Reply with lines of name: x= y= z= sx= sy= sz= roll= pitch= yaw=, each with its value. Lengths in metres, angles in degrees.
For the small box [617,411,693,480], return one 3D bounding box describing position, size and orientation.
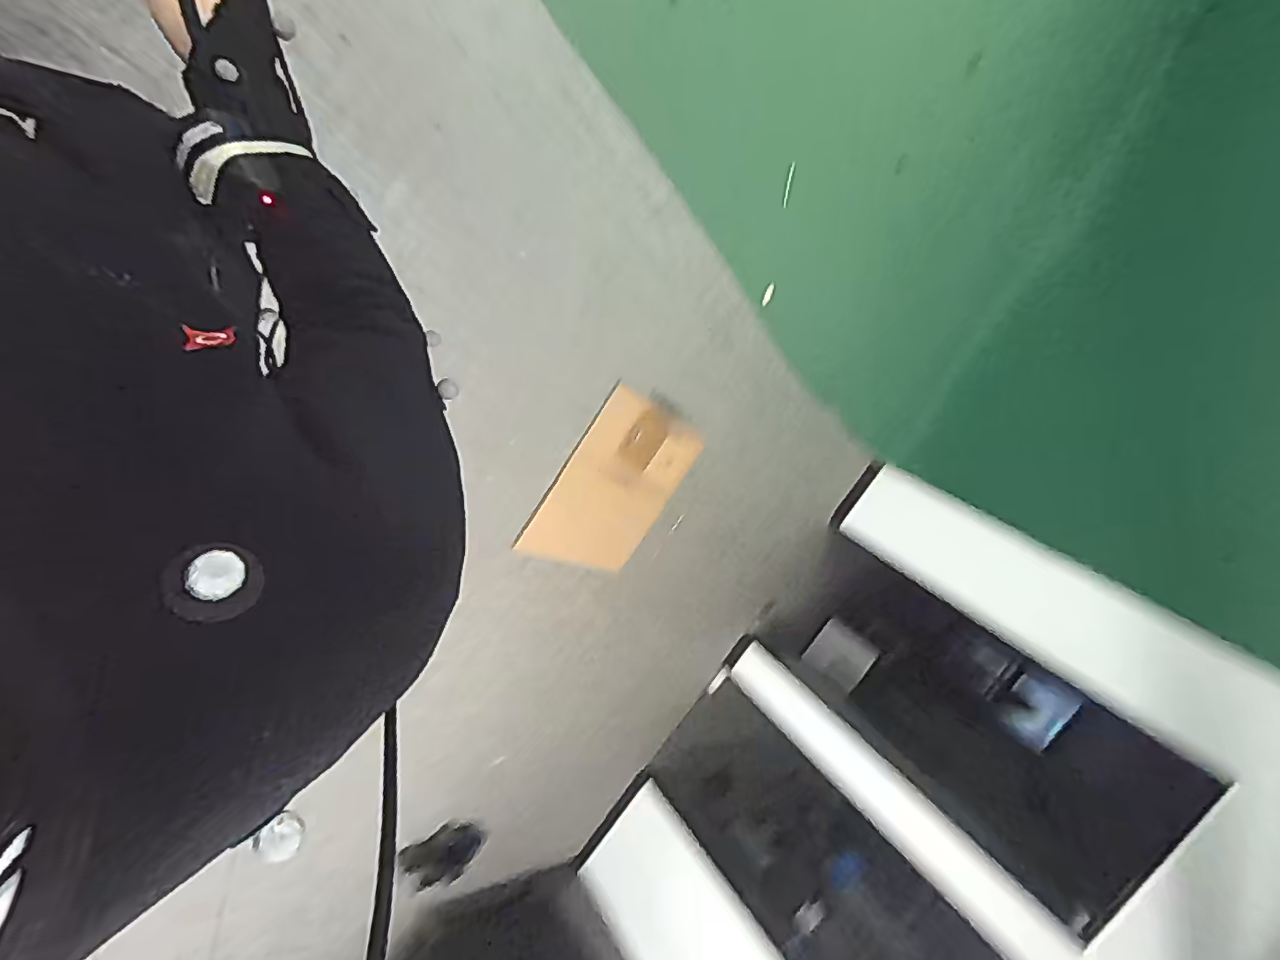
small box: x=0.053 y=-0.128 z=1.958 sx=0.179 sy=0.176 sz=0.168 roll=25 pitch=100 yaw=-50
